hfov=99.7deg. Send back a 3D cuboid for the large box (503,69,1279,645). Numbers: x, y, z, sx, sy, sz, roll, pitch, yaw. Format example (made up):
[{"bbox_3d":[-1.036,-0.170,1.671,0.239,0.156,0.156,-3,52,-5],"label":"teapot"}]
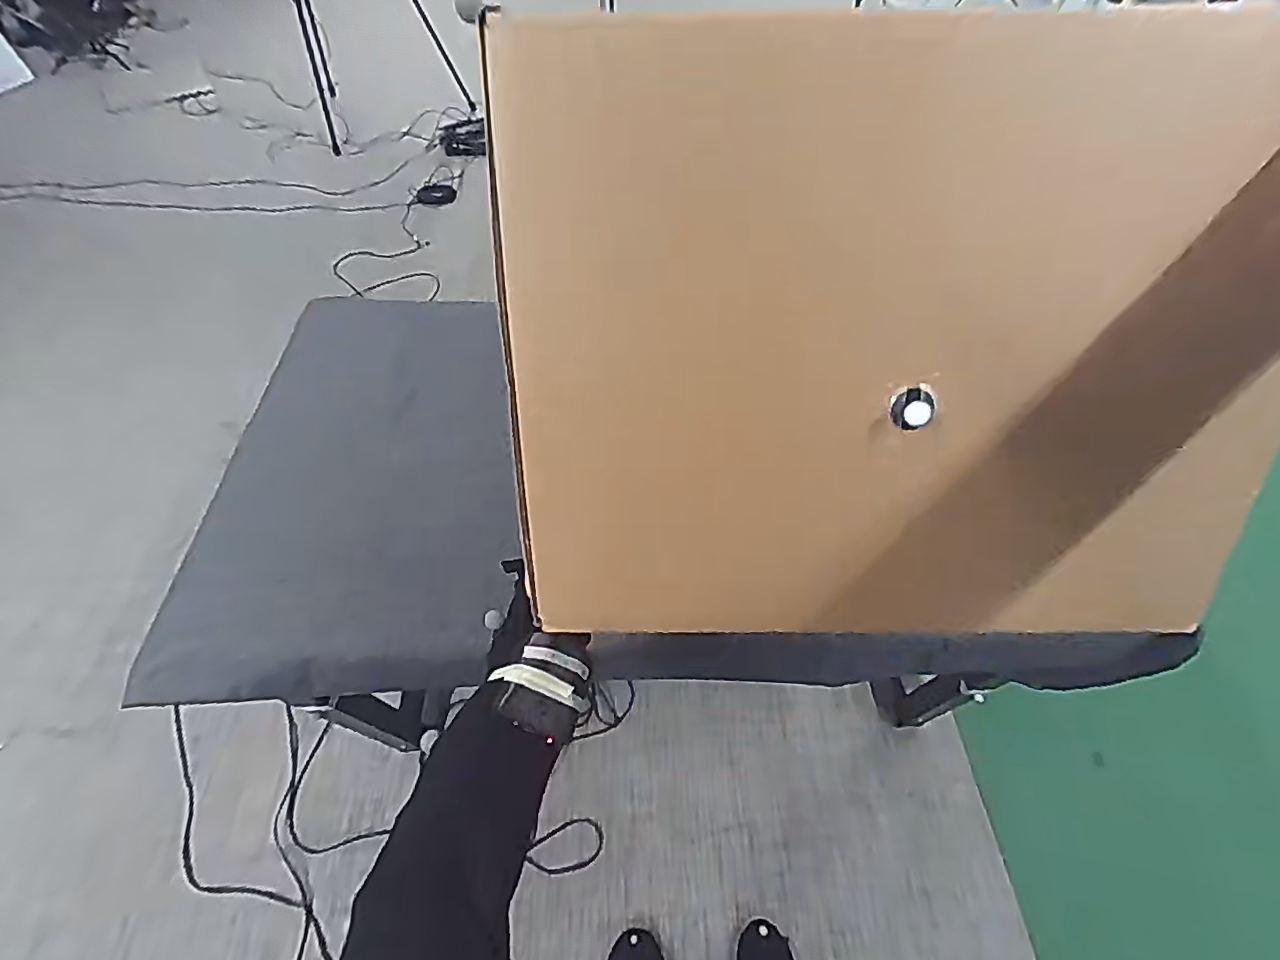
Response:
[{"bbox_3d":[0.140,-0.094,0.431,0.408,0.320,0.320,-2,21,0],"label":"large box"}]
